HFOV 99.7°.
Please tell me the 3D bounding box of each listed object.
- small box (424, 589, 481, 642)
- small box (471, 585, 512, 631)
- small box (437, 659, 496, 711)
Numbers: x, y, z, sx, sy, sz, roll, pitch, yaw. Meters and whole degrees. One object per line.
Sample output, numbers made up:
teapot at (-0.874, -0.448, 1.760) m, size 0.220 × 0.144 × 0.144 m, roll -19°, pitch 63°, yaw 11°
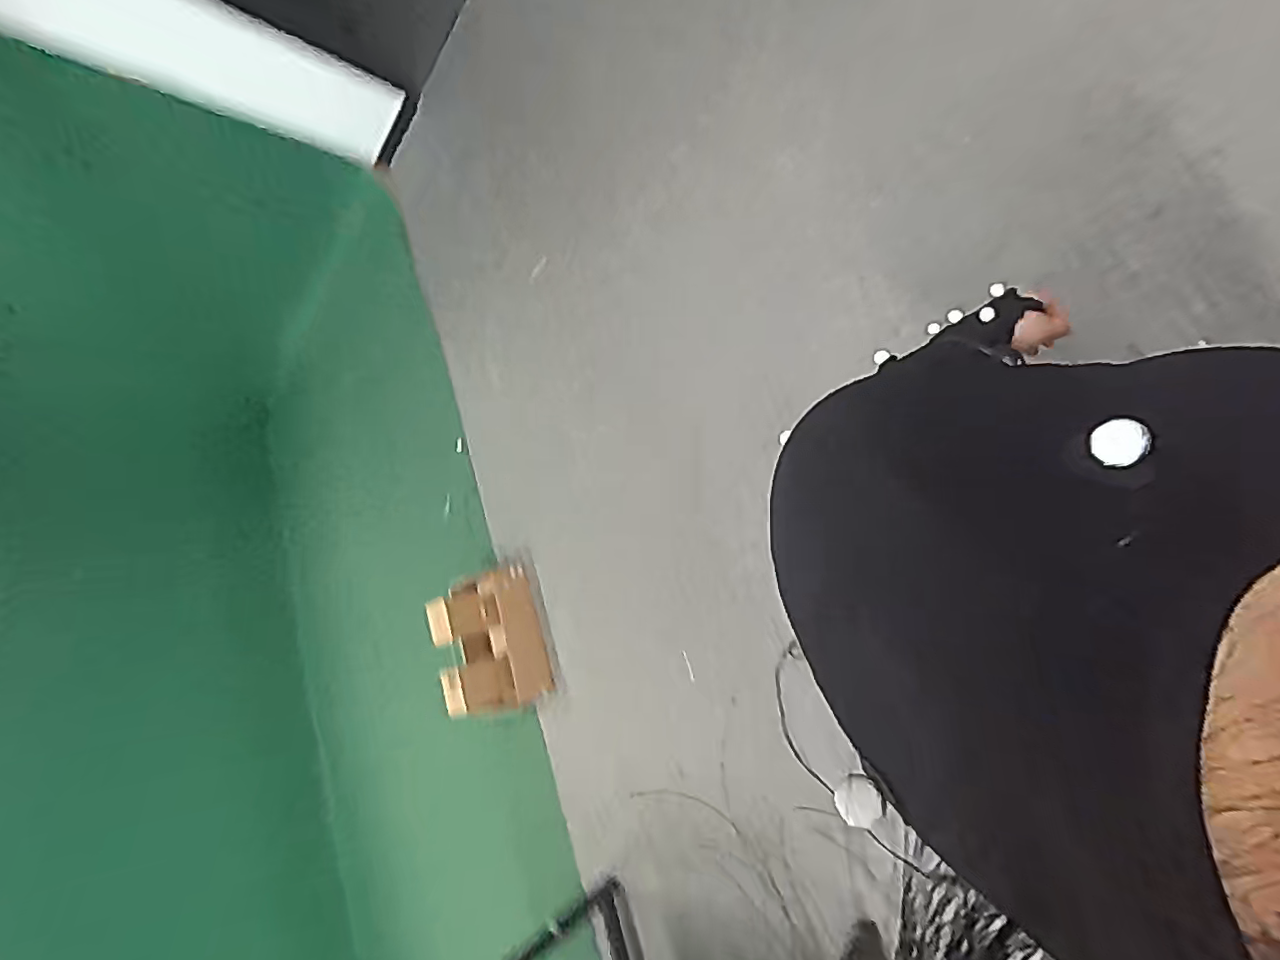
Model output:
small box at (-0.827, 0.598, 2.393) m, size 0.168 × 0.176 × 0.179 m, roll -26°, pitch 75°, yaw 37°
small box at (-0.713, 0.594, 2.510) m, size 0.179 × 0.176 × 0.168 m, roll -22°, pitch 78°, yaw 39°
small box at (-0.746, 0.879, 2.331) m, size 0.168 × 0.176 × 0.179 m, roll -24°, pitch 77°, yaw 40°
